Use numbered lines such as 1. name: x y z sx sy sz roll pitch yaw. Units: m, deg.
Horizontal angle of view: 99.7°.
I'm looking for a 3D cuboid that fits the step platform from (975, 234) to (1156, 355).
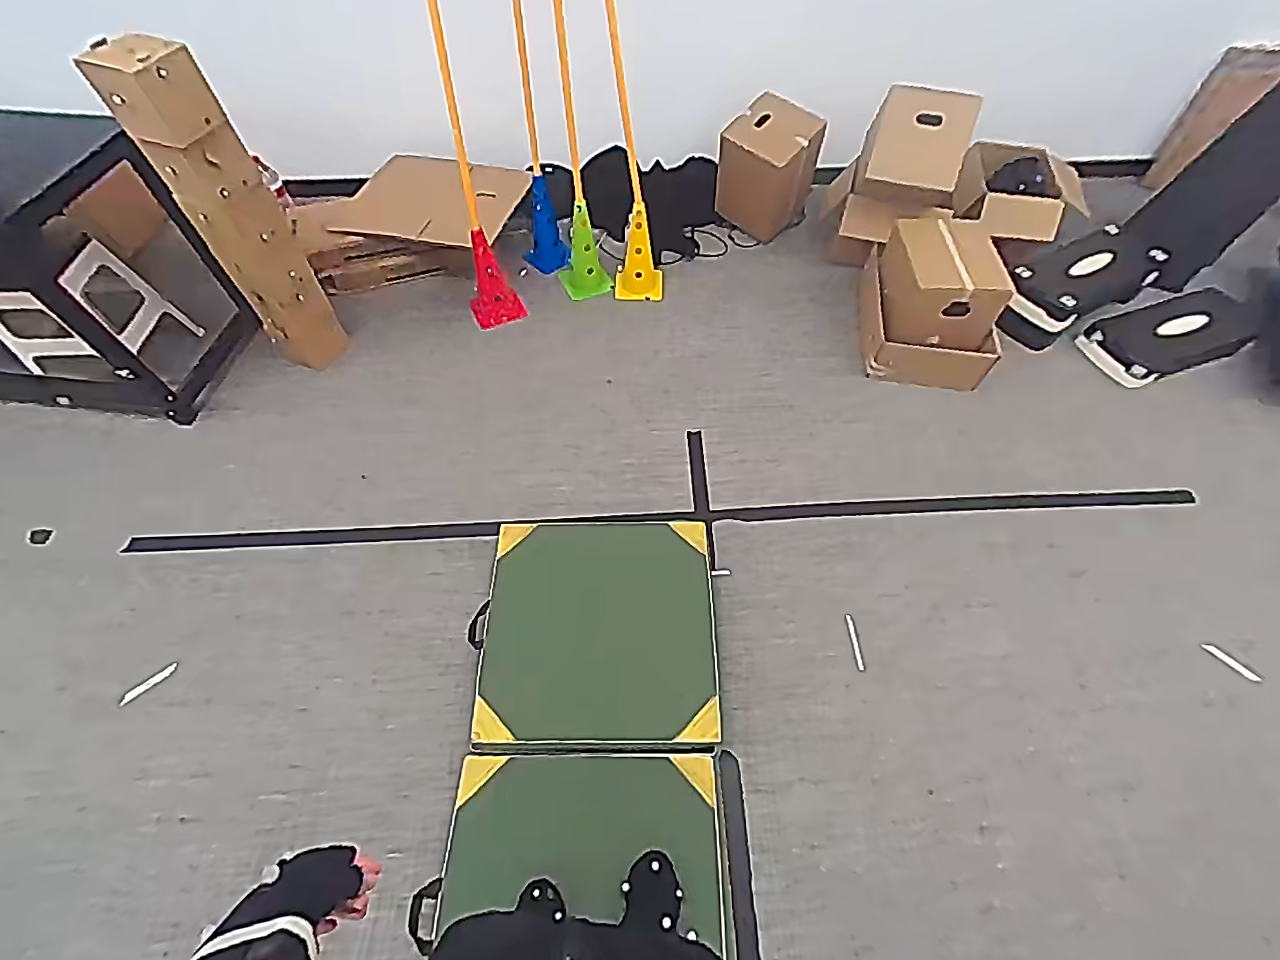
1. step platform: 1.726 -0.762 2.194 0.684 0.204 0.286 -26 61 -16
